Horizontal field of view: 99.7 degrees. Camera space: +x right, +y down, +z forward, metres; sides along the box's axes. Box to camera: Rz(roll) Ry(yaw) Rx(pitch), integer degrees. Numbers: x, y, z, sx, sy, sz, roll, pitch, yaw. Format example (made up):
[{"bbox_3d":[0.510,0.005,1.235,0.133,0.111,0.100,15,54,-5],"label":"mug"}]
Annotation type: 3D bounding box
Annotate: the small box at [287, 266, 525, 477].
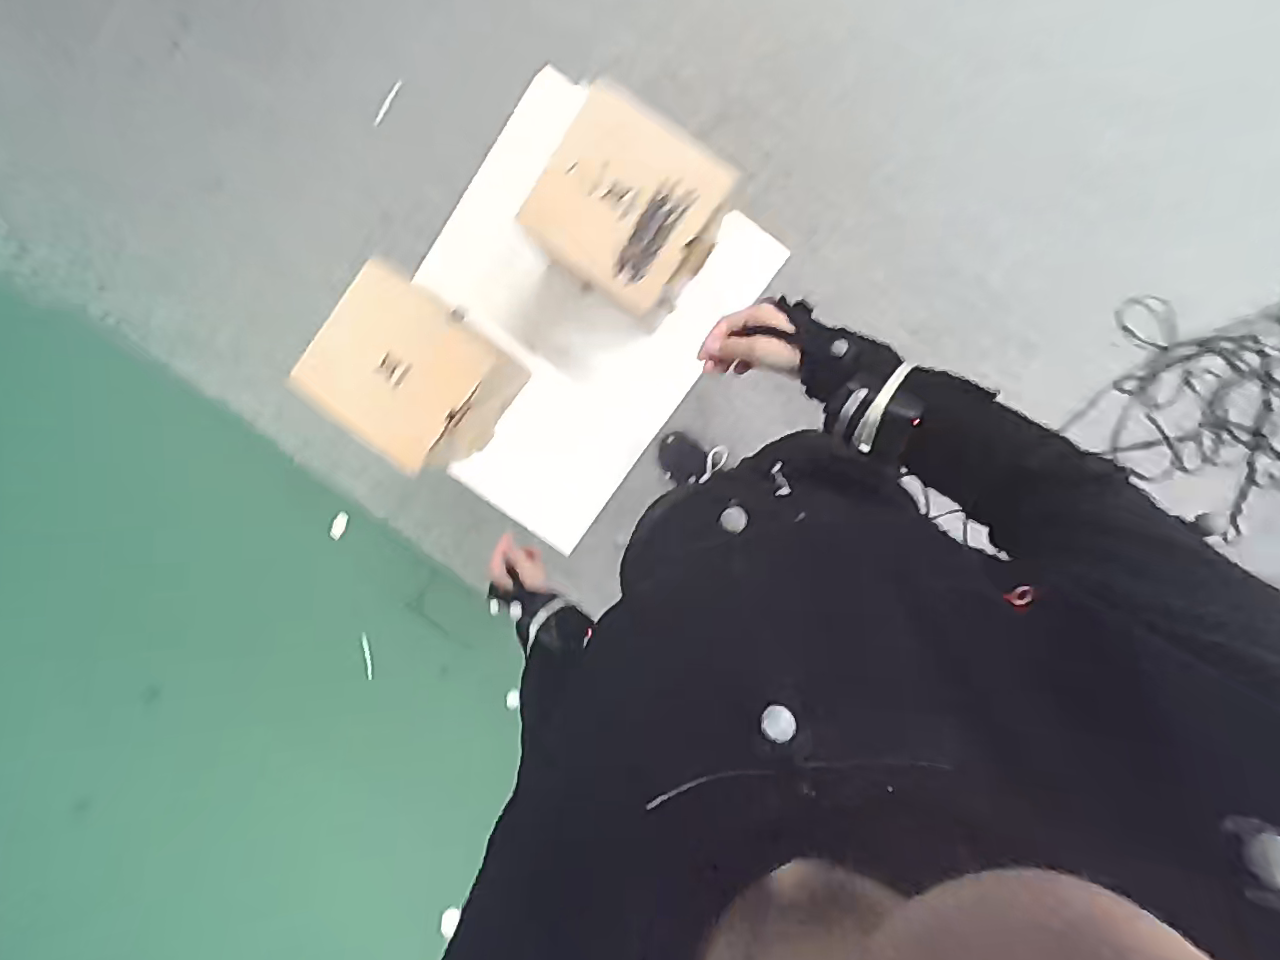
[{"bbox_3d":[-0.271,-0.125,0.670,0.179,0.176,0.168,38,97,-3],"label":"small box"}]
